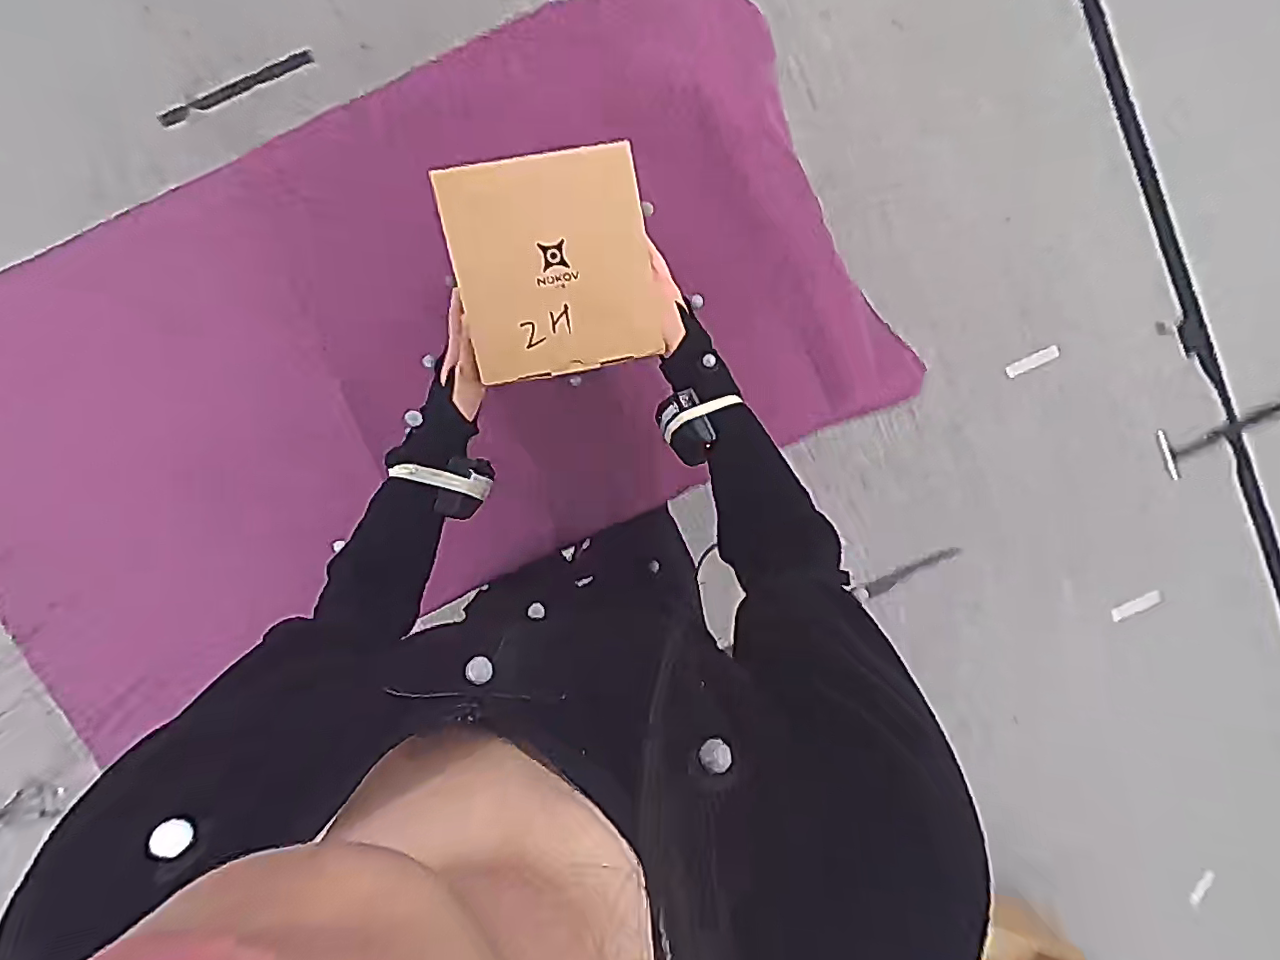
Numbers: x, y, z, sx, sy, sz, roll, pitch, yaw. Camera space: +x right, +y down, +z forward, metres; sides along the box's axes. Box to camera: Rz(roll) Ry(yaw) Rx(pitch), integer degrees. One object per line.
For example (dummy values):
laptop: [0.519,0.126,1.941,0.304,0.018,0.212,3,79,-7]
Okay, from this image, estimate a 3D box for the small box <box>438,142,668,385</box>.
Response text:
small box: [-0.078,-0.192,0.528,0.168,0.176,0.179,-11,102,-5]
